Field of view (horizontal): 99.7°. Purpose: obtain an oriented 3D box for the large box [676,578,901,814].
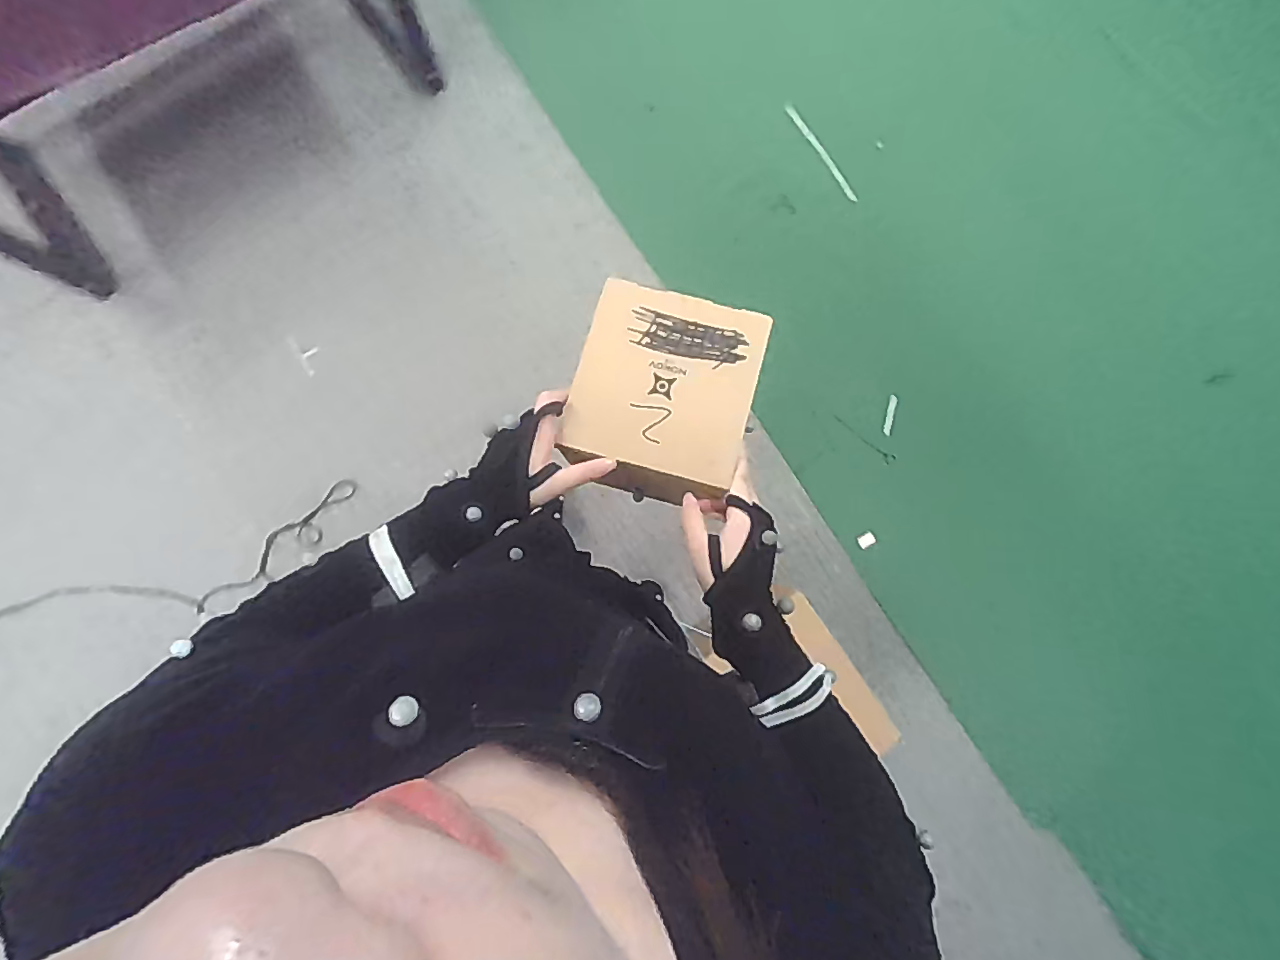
[{"bbox_3d":[0.343,0.505,1.357,0.320,0.320,0.408,-34,88,-6],"label":"large box"}]
